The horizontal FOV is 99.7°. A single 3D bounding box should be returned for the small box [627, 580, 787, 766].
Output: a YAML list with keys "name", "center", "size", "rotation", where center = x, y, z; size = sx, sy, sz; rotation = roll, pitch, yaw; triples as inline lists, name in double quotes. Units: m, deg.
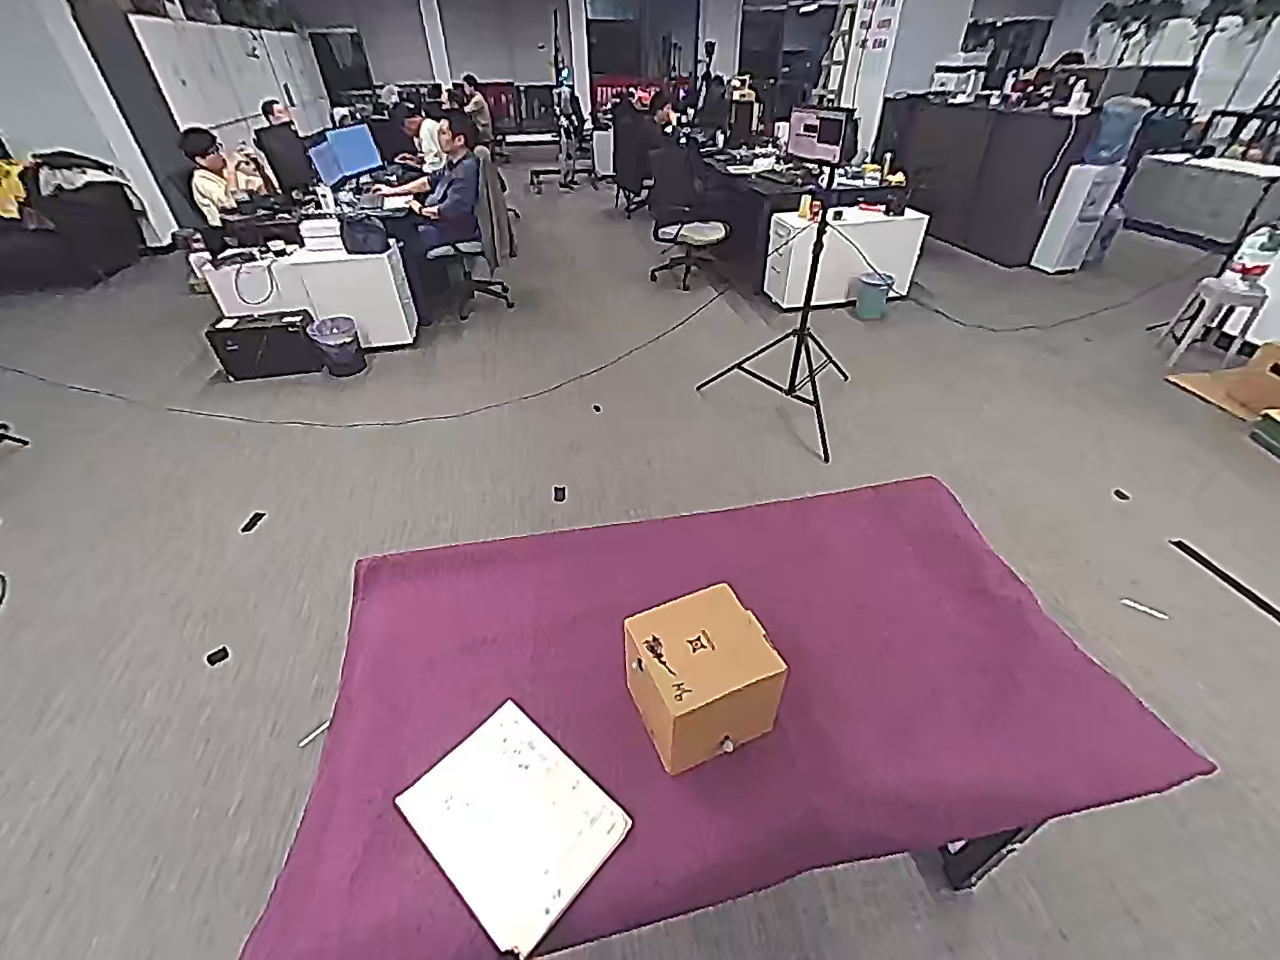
- name: "small box"
  center: [0.089, 0.284, 0.804]
  size: [0.179, 0.176, 0.168]
  rotation: [-15, 39, -18]
